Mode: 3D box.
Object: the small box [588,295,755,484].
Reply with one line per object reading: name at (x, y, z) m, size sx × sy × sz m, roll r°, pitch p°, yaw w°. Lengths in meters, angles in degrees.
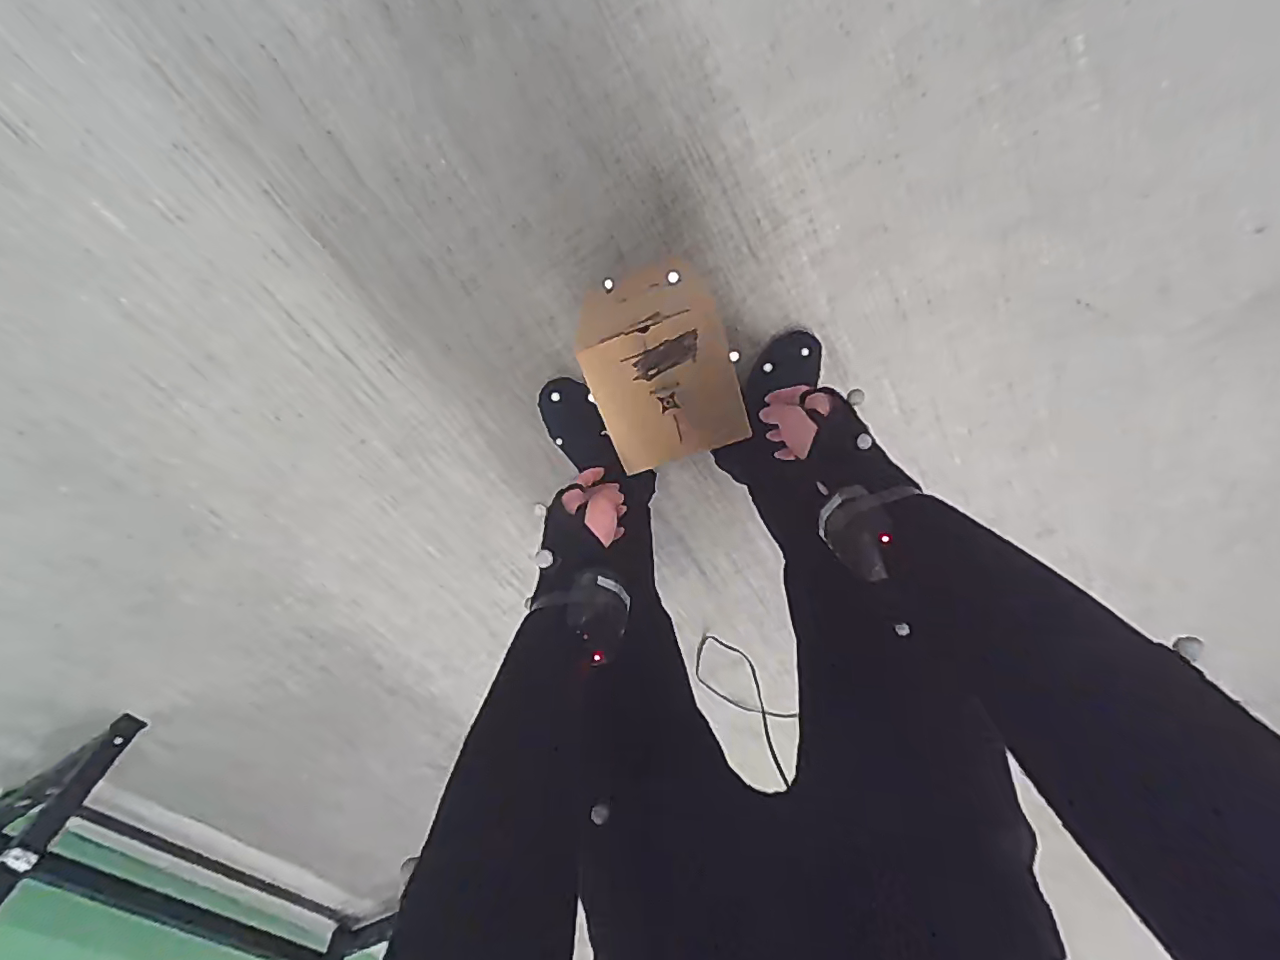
small box at (0.038, -0.127, 0.707) m, size 0.168 × 0.176 × 0.179 m, roll -16°, pitch 121°, yaw 8°
